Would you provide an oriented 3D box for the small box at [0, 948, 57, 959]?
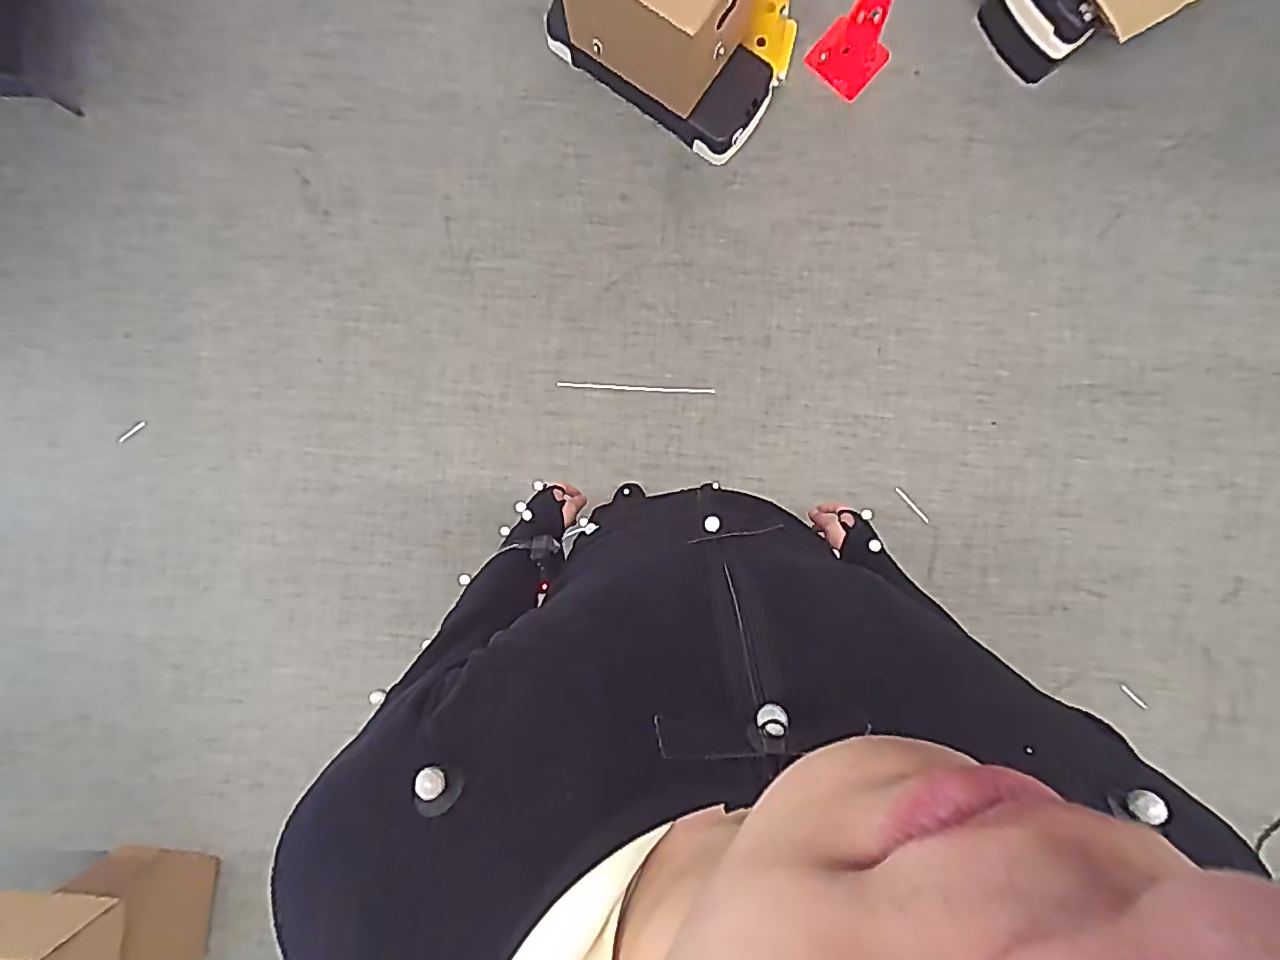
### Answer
[{"bbox_3d":[-1.434,1.158,1.162,0.179,0.176,0.168,5,89,0],"label":"small box"}]
